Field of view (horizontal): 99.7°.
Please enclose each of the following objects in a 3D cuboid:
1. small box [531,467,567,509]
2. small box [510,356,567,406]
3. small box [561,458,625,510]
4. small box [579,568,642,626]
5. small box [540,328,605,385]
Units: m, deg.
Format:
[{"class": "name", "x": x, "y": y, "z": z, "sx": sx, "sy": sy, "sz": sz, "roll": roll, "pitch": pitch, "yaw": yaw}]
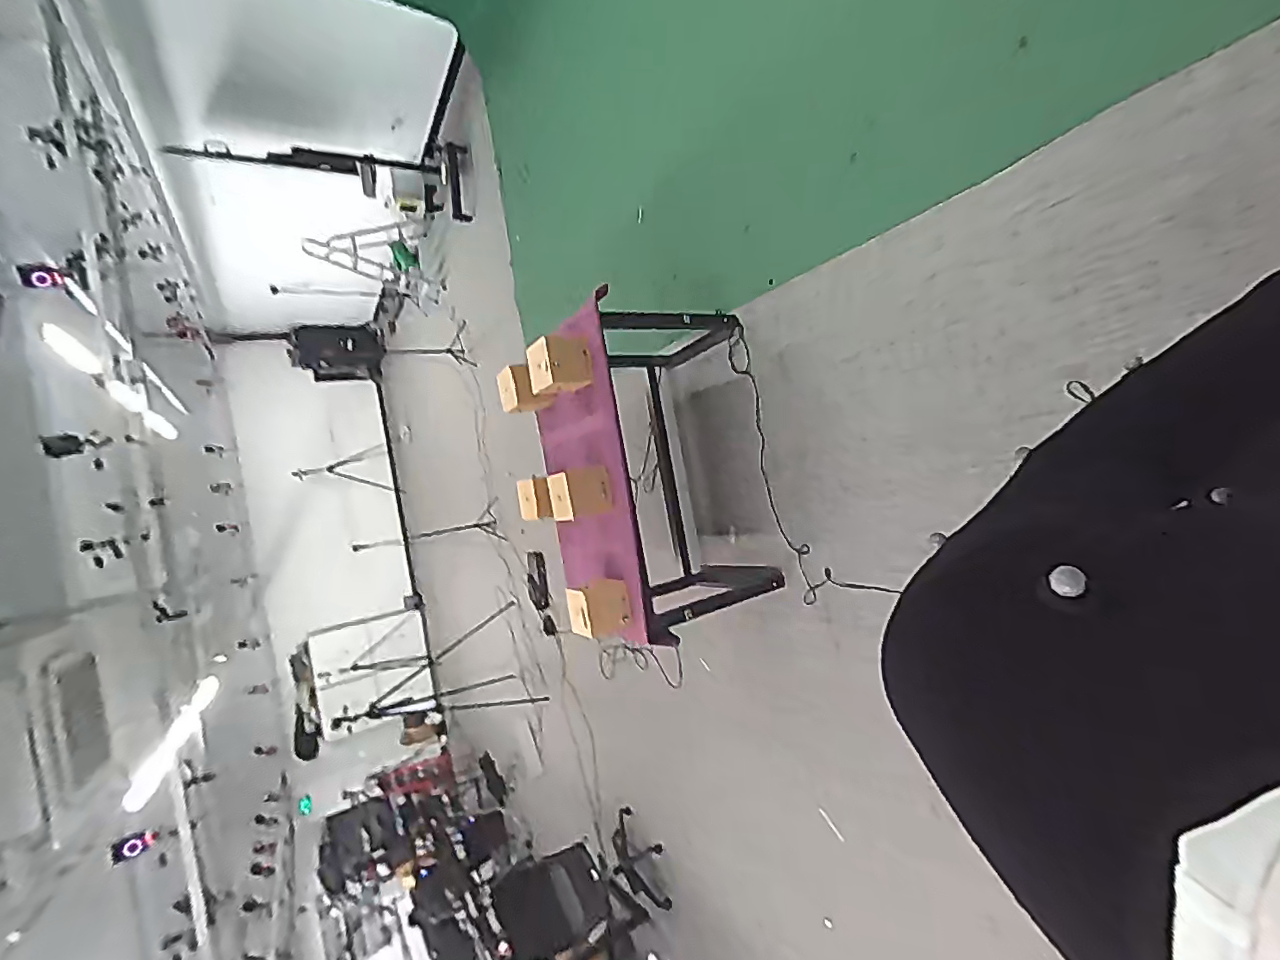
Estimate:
[{"class": "small box", "x": -0.341, "y": 0.031, "z": 2.273, "sx": 0.179, "sy": 0.176, "sz": 0.168, "roll": -7, "pitch": 92, "yaw": 57}, {"class": "small box", "x": -0.427, "y": -0.417, "z": 2.273, "sx": 0.179, "sy": 0.176, "sz": 0.168, "roll": -12, "pitch": 91, "yaw": 58}, {"class": "small box", "x": -0.173, "y": 0.016, "z": 1.993, "sx": 0.179, "sy": 0.176, "sz": 0.168, "roll": -10, "pitch": 91, "yaw": 60}, {"class": "small box", "x": -0.104, "y": 0.427, "z": 1.997, "sx": 0.179, "sy": 0.176, "sz": 0.168, "roll": -10, "pitch": 90, "yaw": 61}, {"class": "small box", "x": -0.245, "y": -0.447, "z": 1.969, "sx": 0.179, "sy": 0.176, "sz": 0.168, "roll": -8, "pitch": 93, "yaw": 59}]
